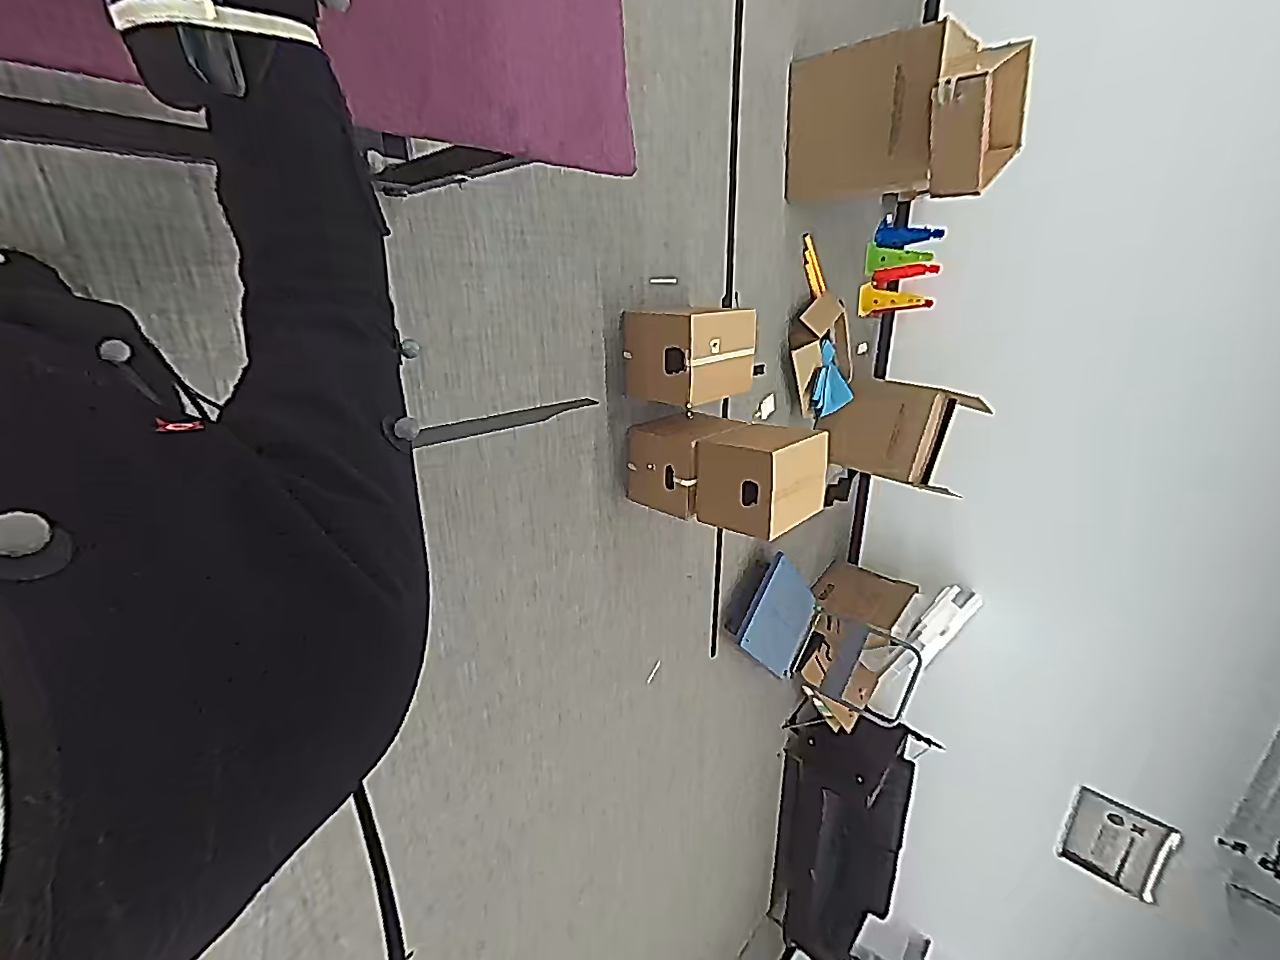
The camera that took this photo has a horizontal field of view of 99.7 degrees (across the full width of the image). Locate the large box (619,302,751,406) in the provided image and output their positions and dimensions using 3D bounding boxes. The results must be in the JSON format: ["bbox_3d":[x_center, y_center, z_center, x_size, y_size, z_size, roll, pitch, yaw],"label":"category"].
[{"bbox_3d":[0.169,-0.487,2.014,0.408,0.320,0.320,-22,119,-43],"label":"large box"}]
